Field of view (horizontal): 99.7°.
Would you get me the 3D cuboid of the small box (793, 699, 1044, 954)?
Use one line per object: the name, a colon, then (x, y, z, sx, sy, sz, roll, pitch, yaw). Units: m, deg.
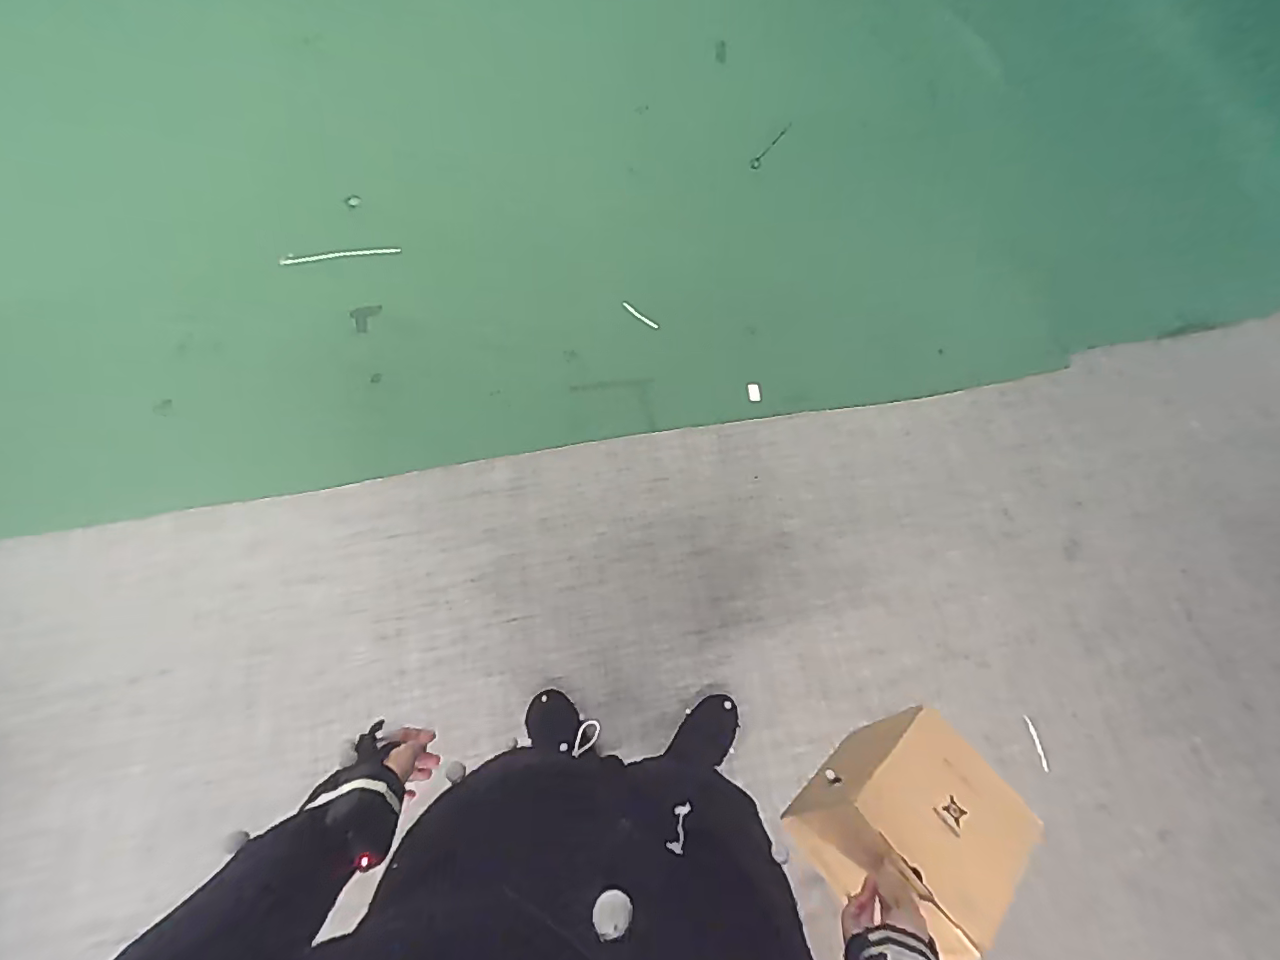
small box: (0.306, 0.395, 0.629, 0.179, 0.176, 0.168, -26, 67, -34)
